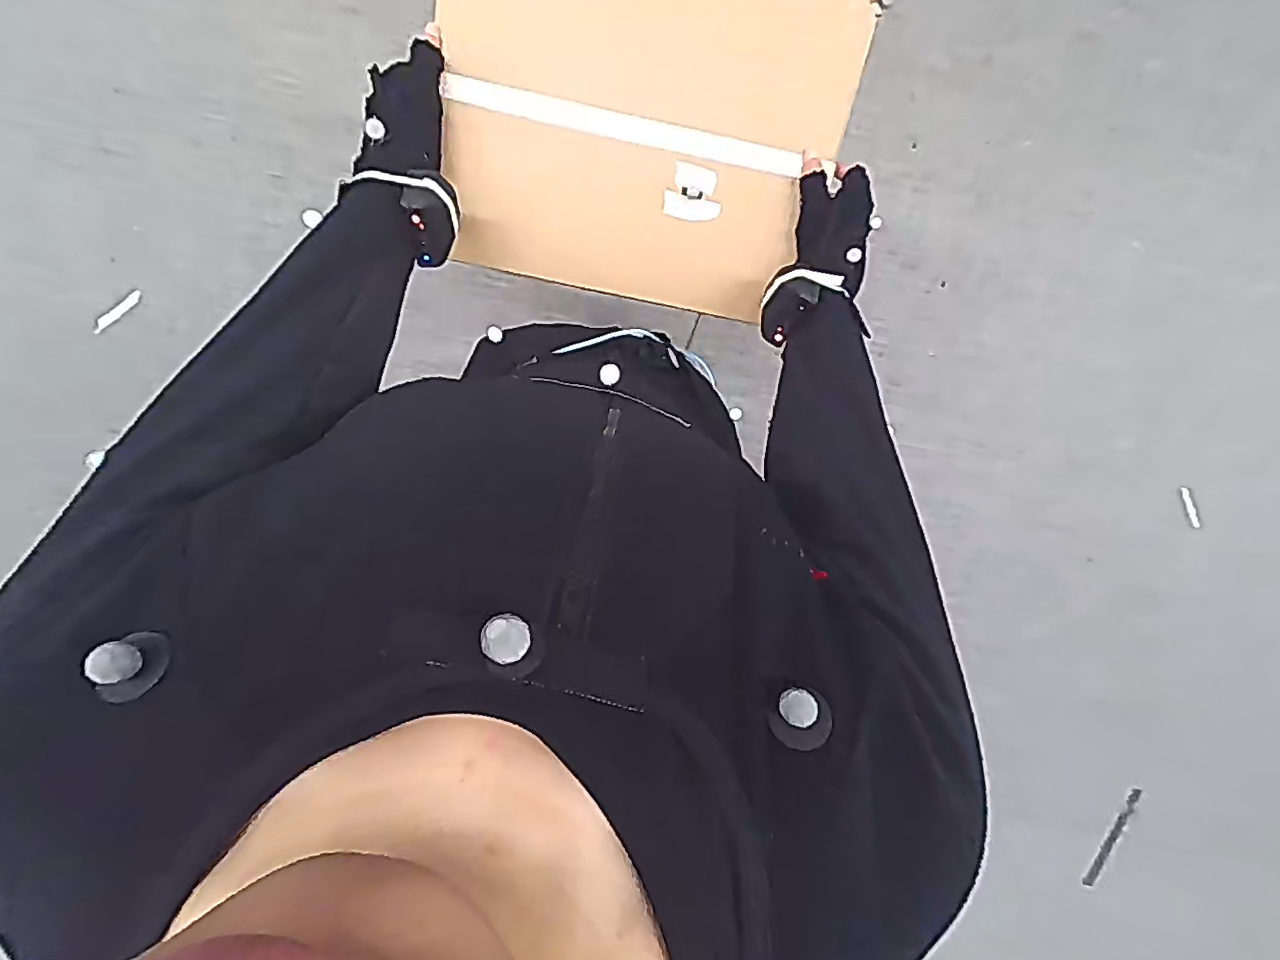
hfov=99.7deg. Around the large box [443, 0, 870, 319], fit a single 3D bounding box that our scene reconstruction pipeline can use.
[{"bbox_3d":[-0.002,-0.407,0.697,0.408,0.320,0.320,10,111,-5],"label":"large box"}]
